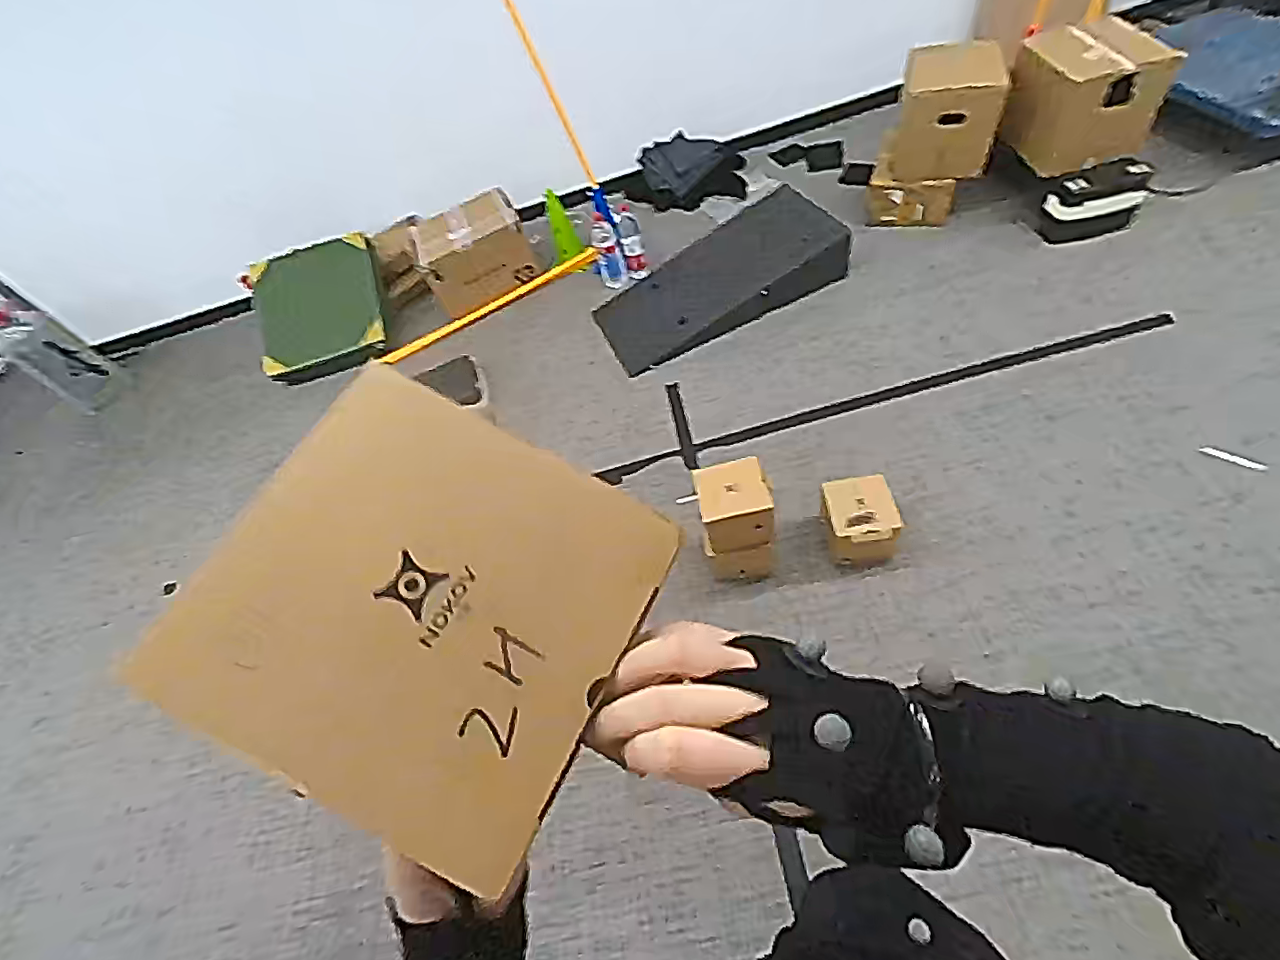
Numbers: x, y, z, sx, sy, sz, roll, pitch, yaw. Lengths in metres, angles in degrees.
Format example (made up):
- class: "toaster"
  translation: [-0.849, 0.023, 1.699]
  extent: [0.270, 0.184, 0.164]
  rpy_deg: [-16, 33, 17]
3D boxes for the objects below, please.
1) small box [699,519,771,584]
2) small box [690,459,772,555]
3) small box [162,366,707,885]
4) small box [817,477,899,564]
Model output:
- class: "small box"
  translation: [0.268, 0.180, 1.533]
  extent: [0.179, 0.176, 0.168]
  rpy_deg: [-10, 53, 8]
- class: "small box"
  translation: [0.240, 0.075, 1.410]
  extent: [0.179, 0.176, 0.168]
  rpy_deg: [-14, 52, 6]
- class: "small box"
  translation: [-0.088, 0.074, 0.310]
  extent: [0.179, 0.176, 0.168]
  rpy_deg: [28, 72, 5]
- class: "small box"
  translation: [0.592, 0.119, 1.488]
  extent: [0.168, 0.176, 0.179]
  rpy_deg: [-10, 53, 8]
